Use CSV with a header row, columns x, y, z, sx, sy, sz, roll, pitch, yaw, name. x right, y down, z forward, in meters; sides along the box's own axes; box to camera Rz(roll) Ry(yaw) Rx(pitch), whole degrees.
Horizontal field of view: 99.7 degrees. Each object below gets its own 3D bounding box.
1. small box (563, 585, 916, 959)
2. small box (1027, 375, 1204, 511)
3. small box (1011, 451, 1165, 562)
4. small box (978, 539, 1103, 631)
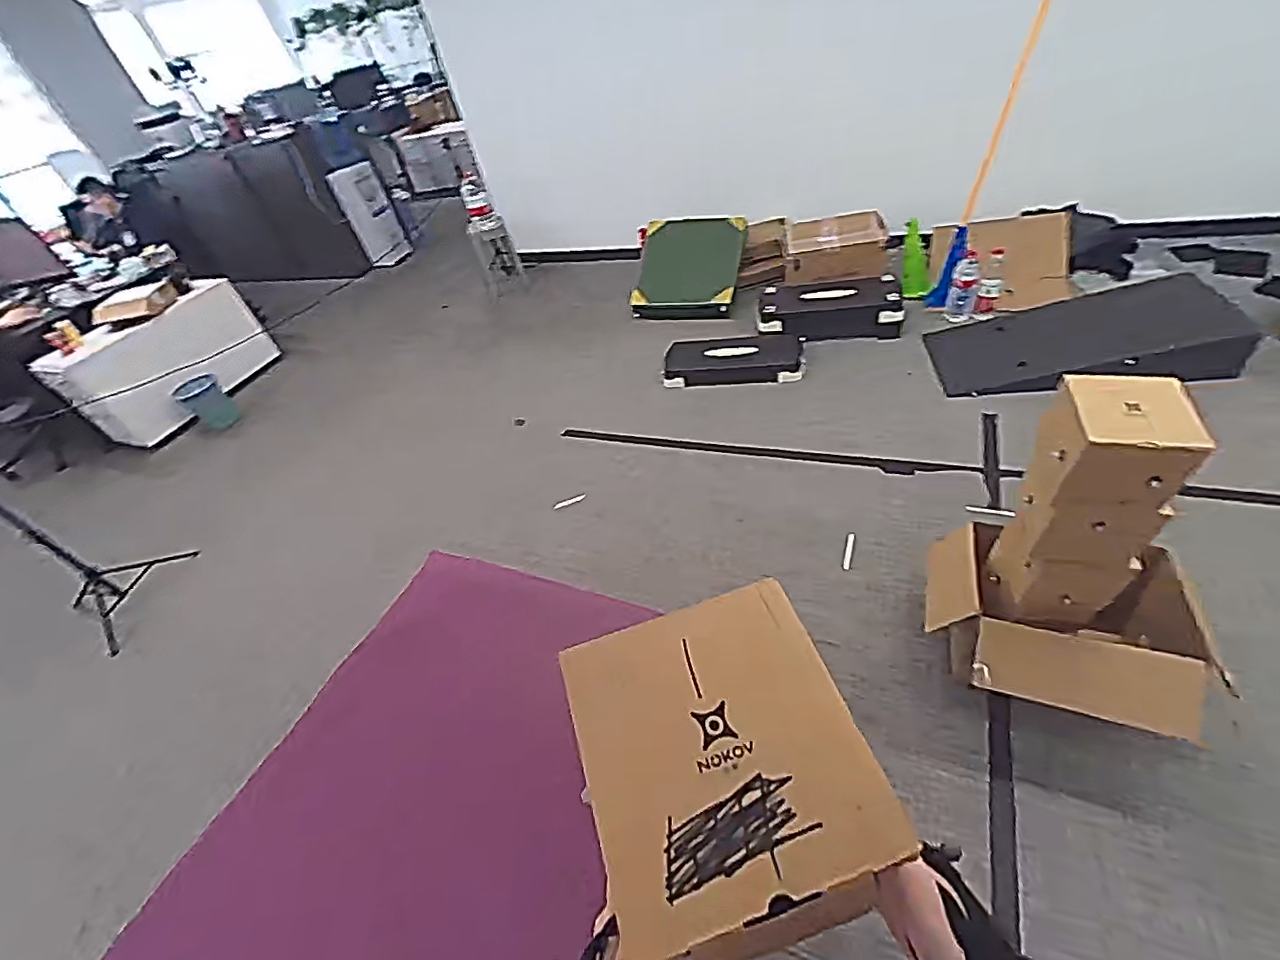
x,y,z,sx,sy,sz,roll,pitch,yaw,name
0.056,0.209,0.392,0.168,0.176,0.179,-17,53,-6,small box
0.821,-0.064,0.958,0.168,0.176,0.179,6,49,16,small box
0.865,0.047,1.071,0.179,0.176,0.168,4,50,16,small box
0.953,0.255,1.312,0.179,0.176,0.168,-6,47,6,small box
